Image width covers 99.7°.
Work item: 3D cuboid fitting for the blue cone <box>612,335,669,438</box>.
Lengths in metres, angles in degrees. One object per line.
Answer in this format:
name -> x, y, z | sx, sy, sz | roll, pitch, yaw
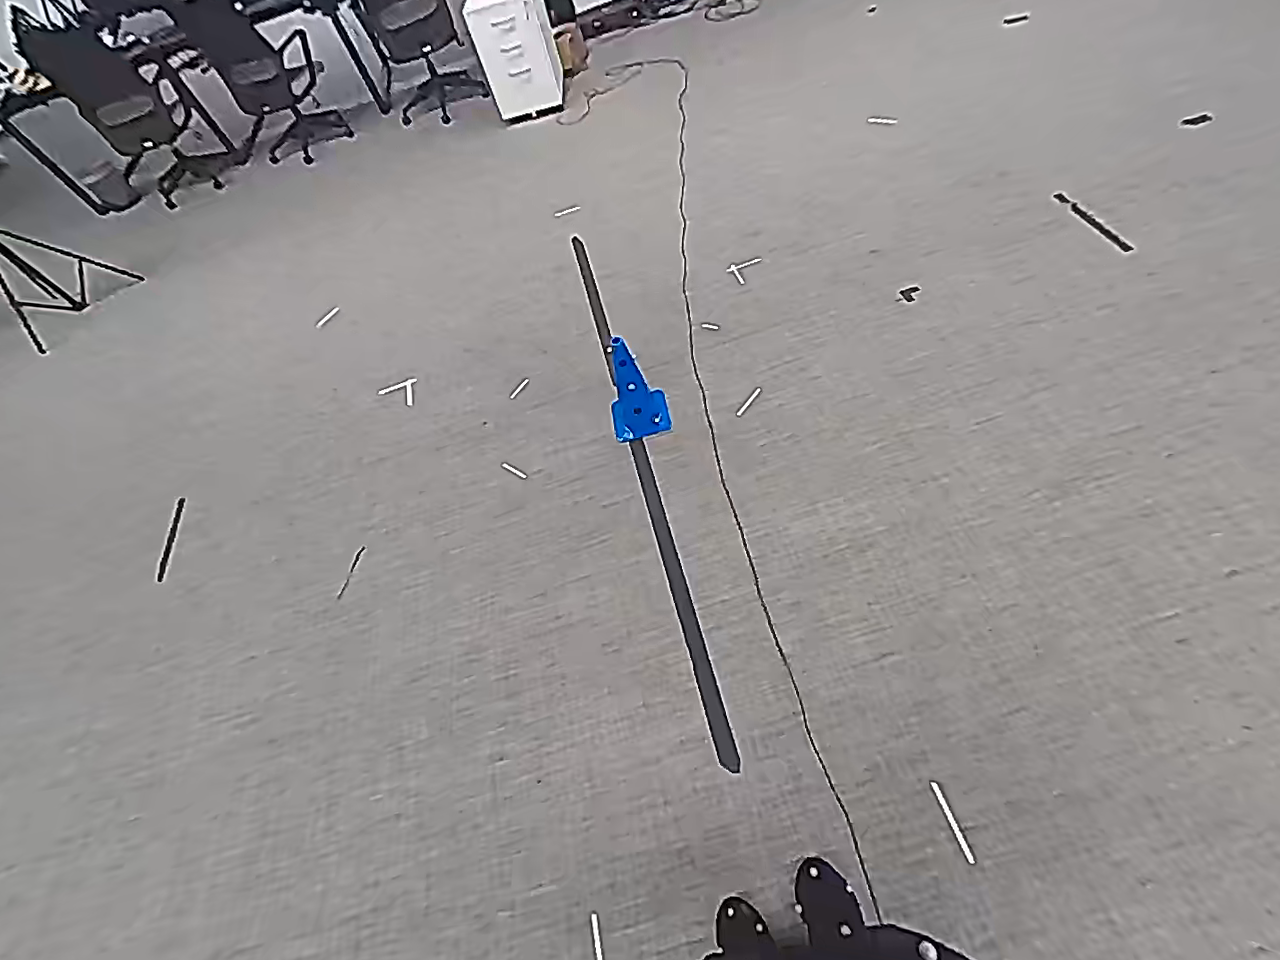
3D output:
blue cone -> -0.035, -0.331, 1.785 | 0.193, 0.380, 0.192 | -15, 54, 3
